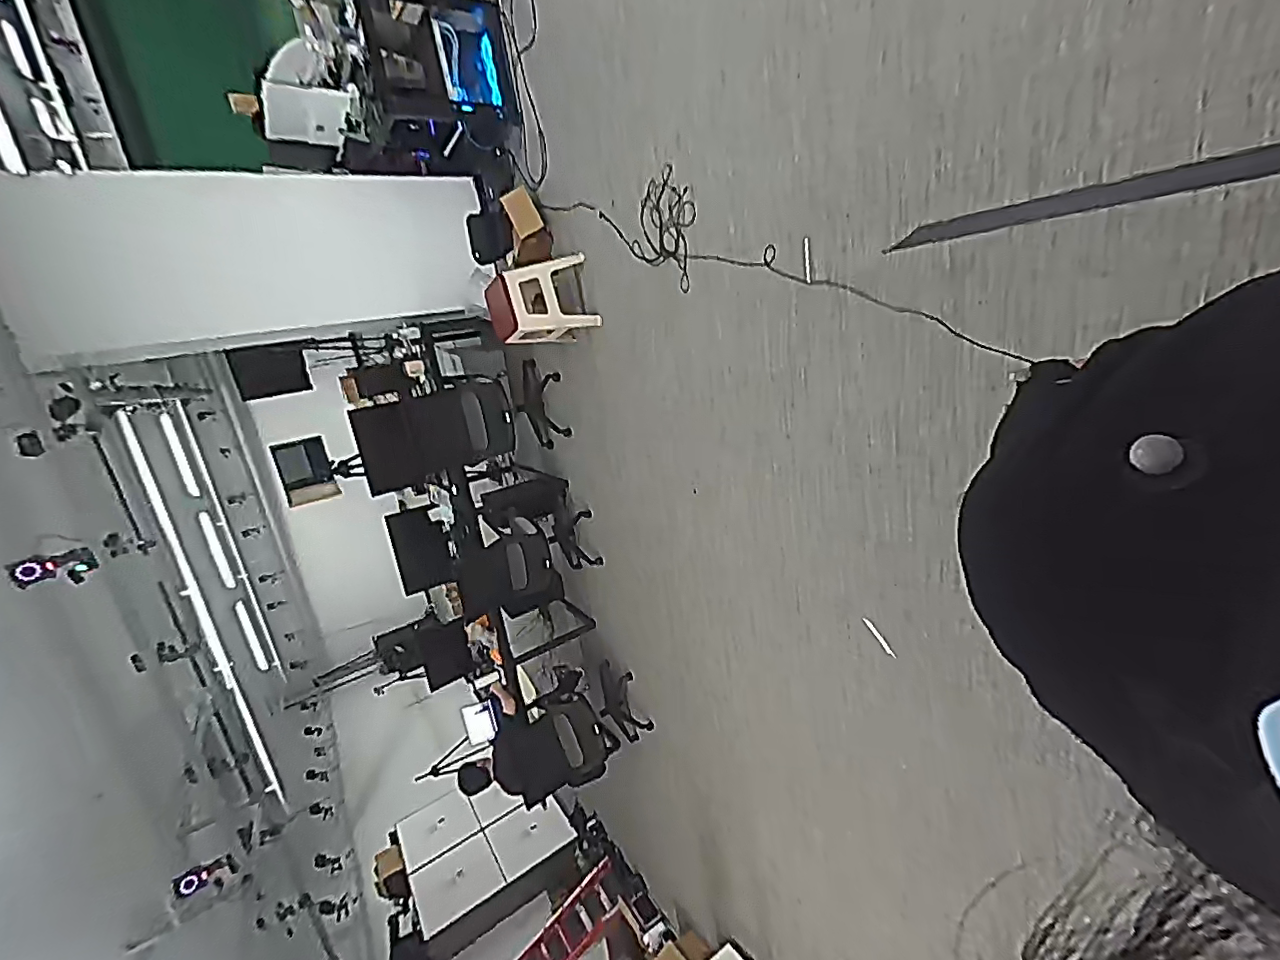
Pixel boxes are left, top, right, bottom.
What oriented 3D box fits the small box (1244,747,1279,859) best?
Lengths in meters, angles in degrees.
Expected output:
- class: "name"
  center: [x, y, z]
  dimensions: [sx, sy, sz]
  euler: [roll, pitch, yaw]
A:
- class: "small box"
  center: [1.177, 0.558, 0.908]
  dimensions: [0.168, 0.176, 0.179]
  euler: [21, 123, 52]
